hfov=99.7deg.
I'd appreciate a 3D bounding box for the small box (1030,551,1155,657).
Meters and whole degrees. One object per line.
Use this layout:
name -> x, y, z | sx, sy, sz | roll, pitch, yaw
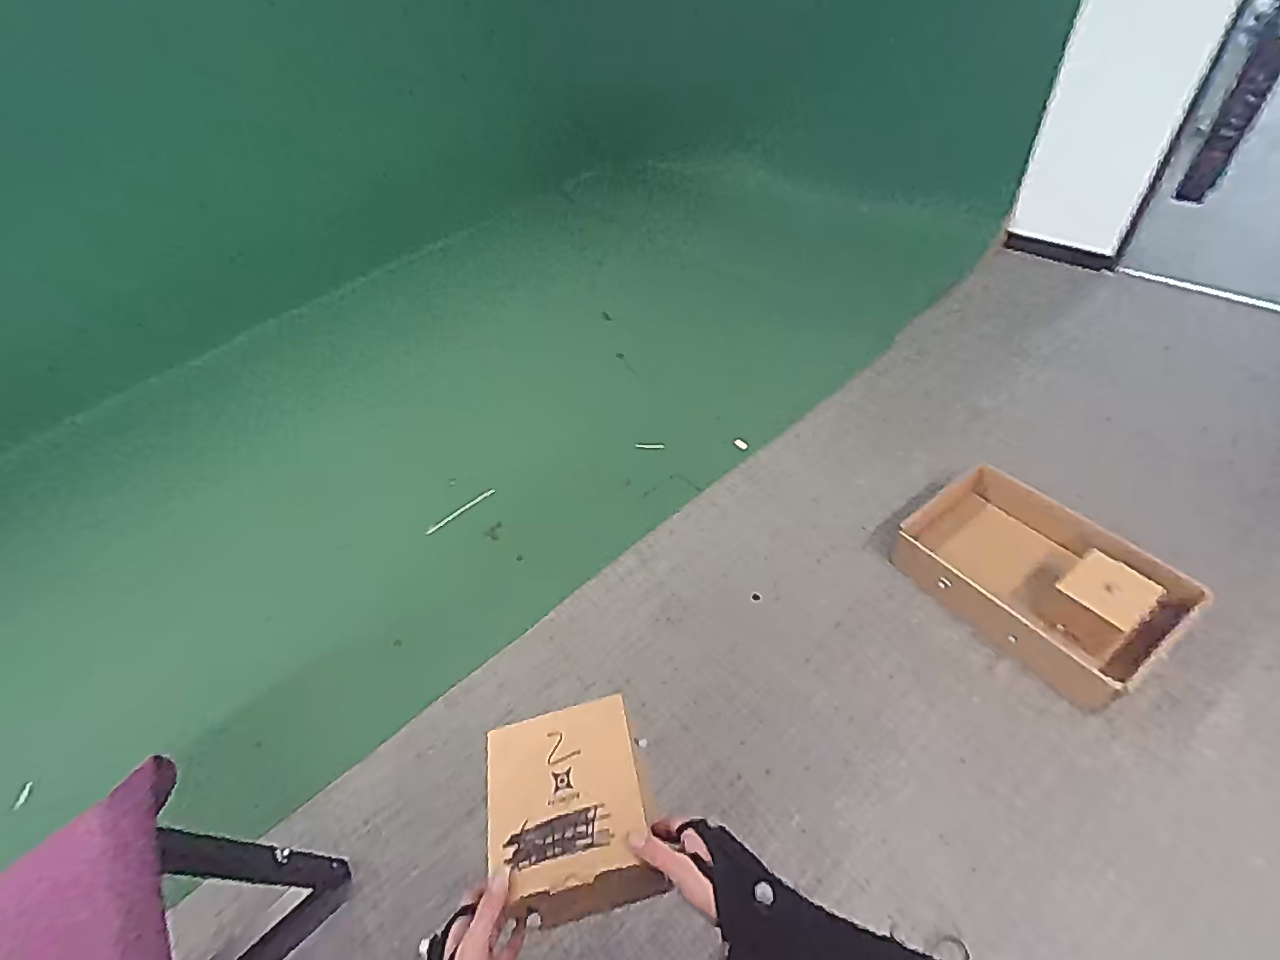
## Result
small box -> 1.174, 0.327, 1.418 | 0.179, 0.176, 0.168 | -33, 50, -16
